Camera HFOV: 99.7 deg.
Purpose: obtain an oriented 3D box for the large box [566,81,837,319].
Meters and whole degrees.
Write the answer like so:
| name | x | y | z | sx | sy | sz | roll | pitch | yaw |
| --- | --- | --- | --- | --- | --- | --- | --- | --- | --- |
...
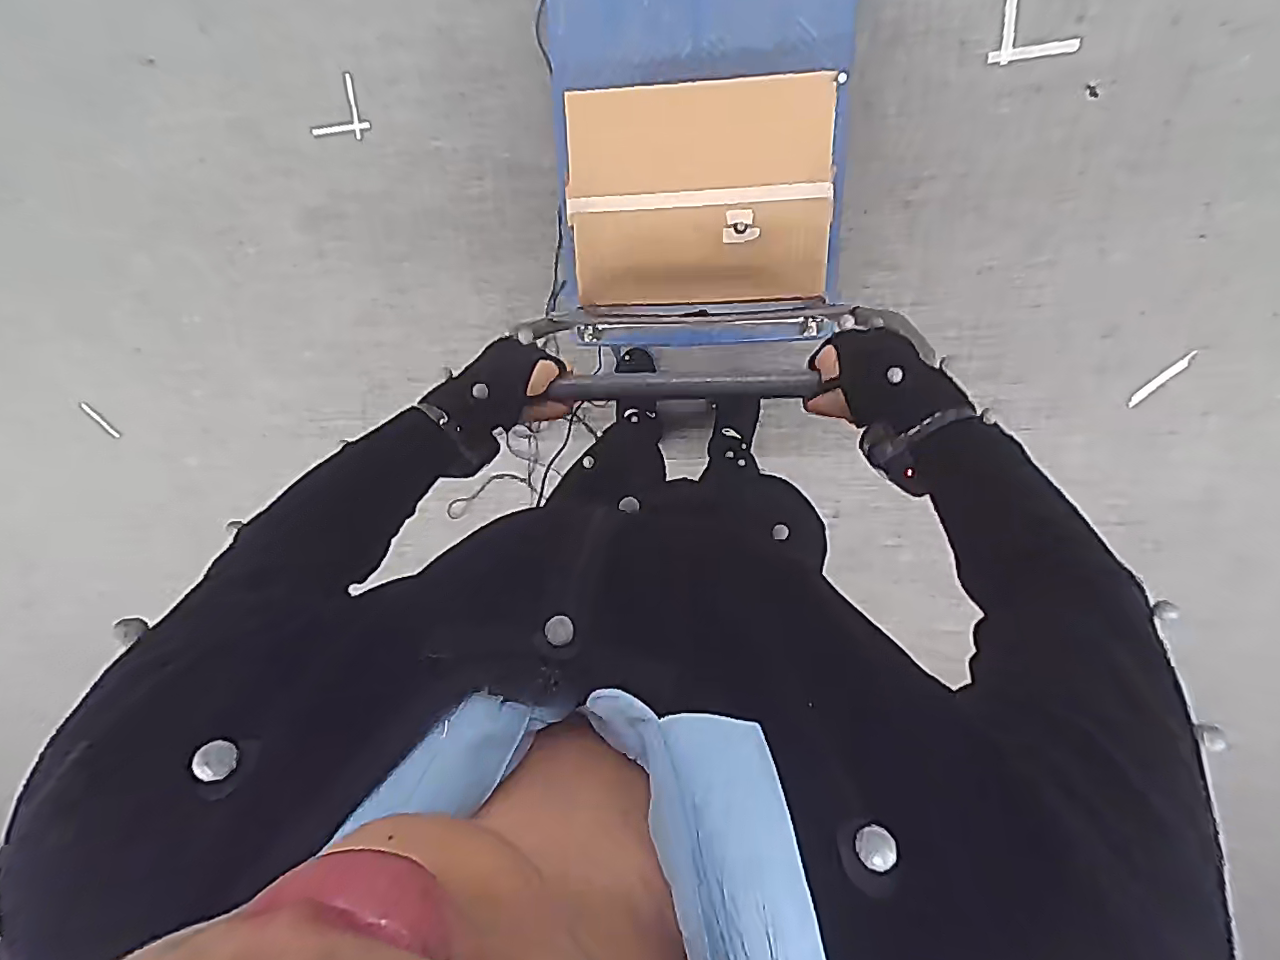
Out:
| name | x | y | z | sx | sy | sz | roll | pitch | yaw |
| --- | --- | --- | --- | --- | --- | --- | --- | --- | --- |
| large box | 0.104 | -0.464 | 0.978 | 0.408 | 0.320 | 0.320 | -1 | 108 | 6 |
